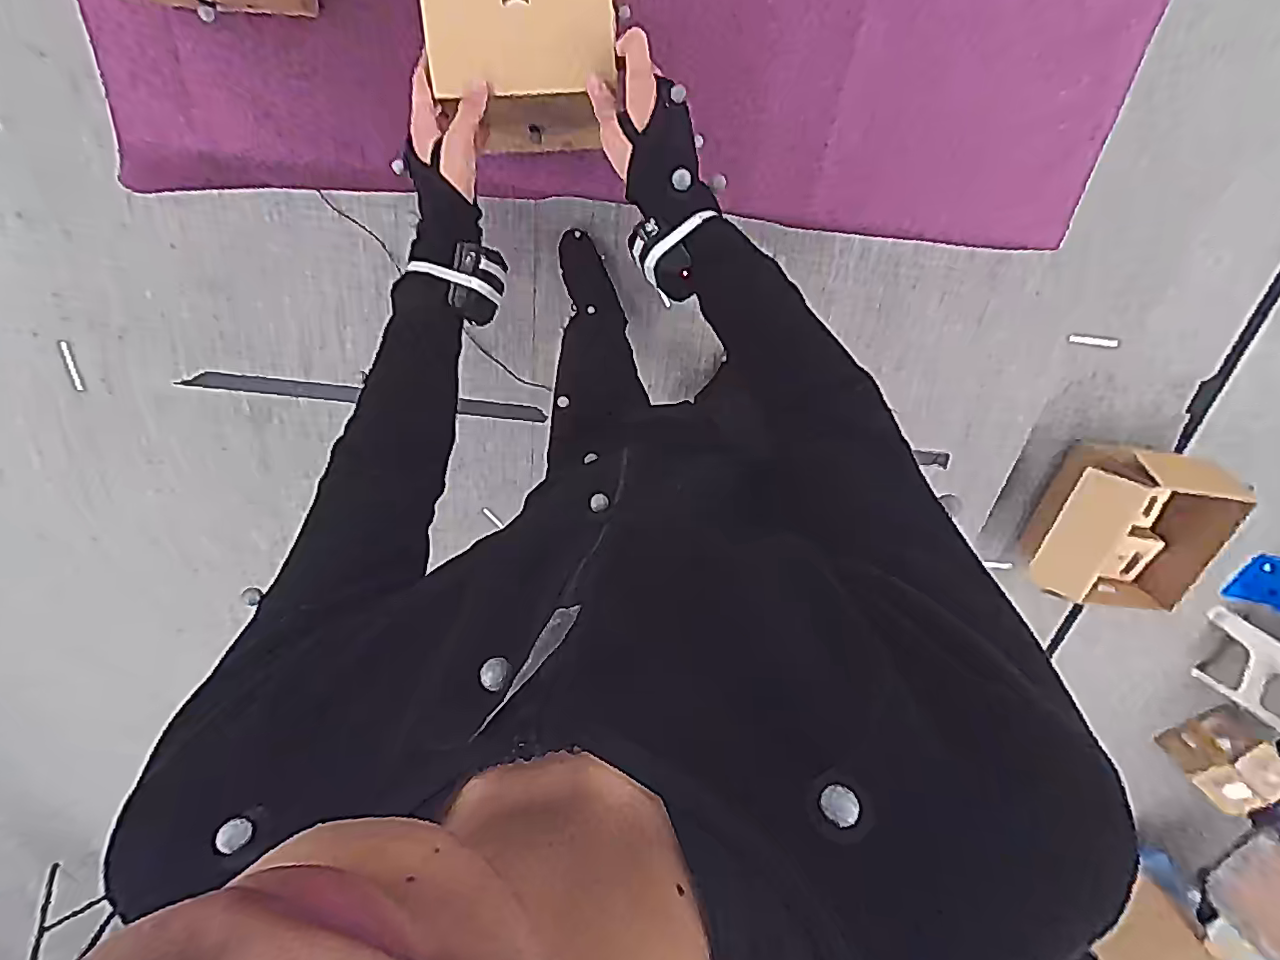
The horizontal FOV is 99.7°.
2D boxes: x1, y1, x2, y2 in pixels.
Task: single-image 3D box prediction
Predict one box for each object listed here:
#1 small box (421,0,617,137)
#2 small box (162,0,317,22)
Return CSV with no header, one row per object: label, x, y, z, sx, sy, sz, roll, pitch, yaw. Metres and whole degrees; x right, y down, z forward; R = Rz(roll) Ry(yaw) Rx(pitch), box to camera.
small box,-0.109,-0.457,0.534,0.168,0.176,0.179,-2,107,-1
small box,-0.429,-0.553,0.487,0.168,0.176,0.179,1,118,-3
